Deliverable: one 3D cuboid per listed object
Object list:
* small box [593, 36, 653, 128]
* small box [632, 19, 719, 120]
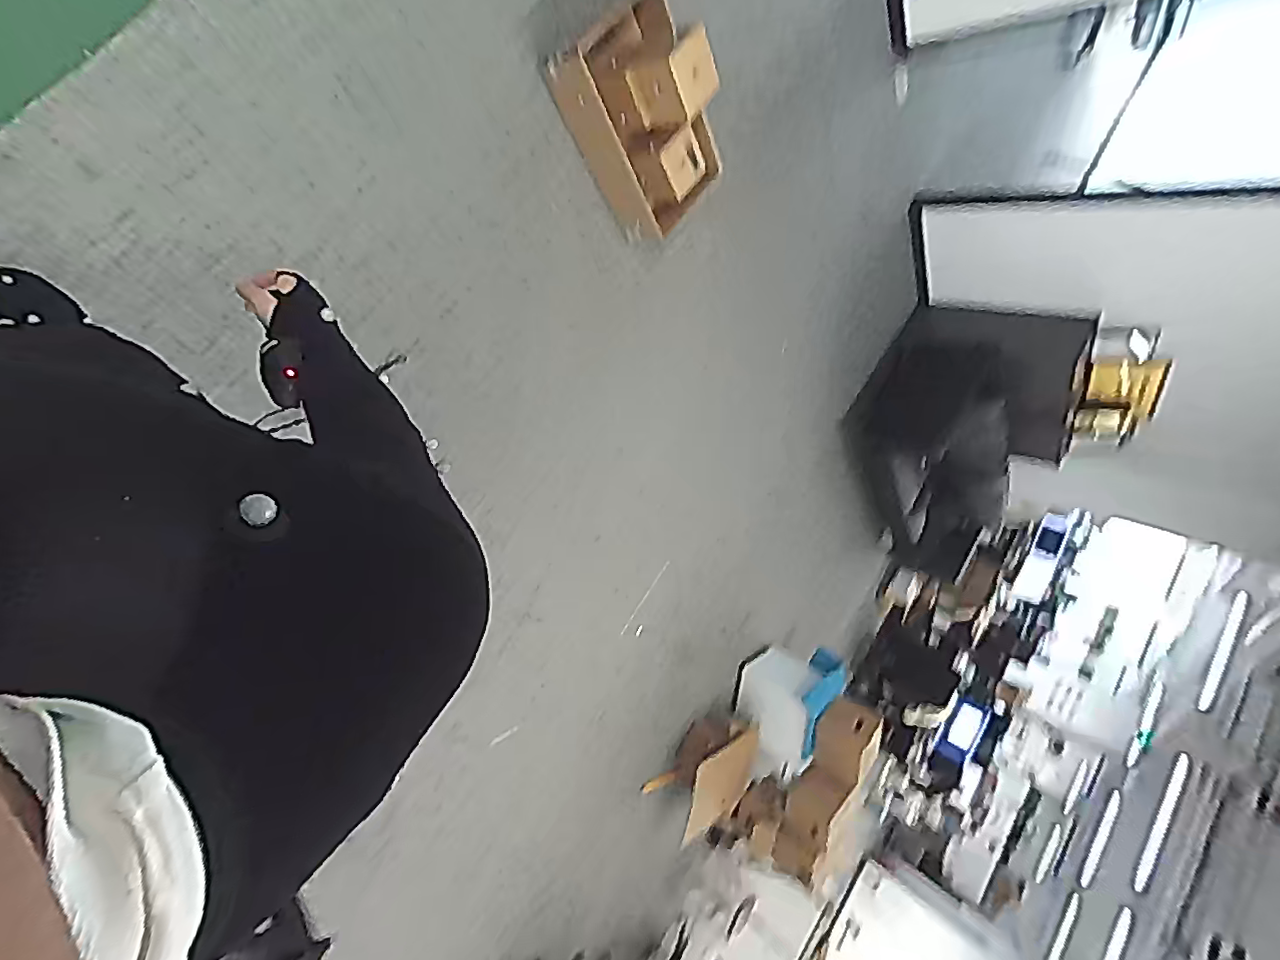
[{"bbox_3d":[-0.024,-1.238,1.694,0.179,0.176,0.168,-55,140,-13],"label":"small box"},{"bbox_3d":[0.097,-1.200,1.593,0.179,0.176,0.168,-56,140,-13],"label":"small box"}]
